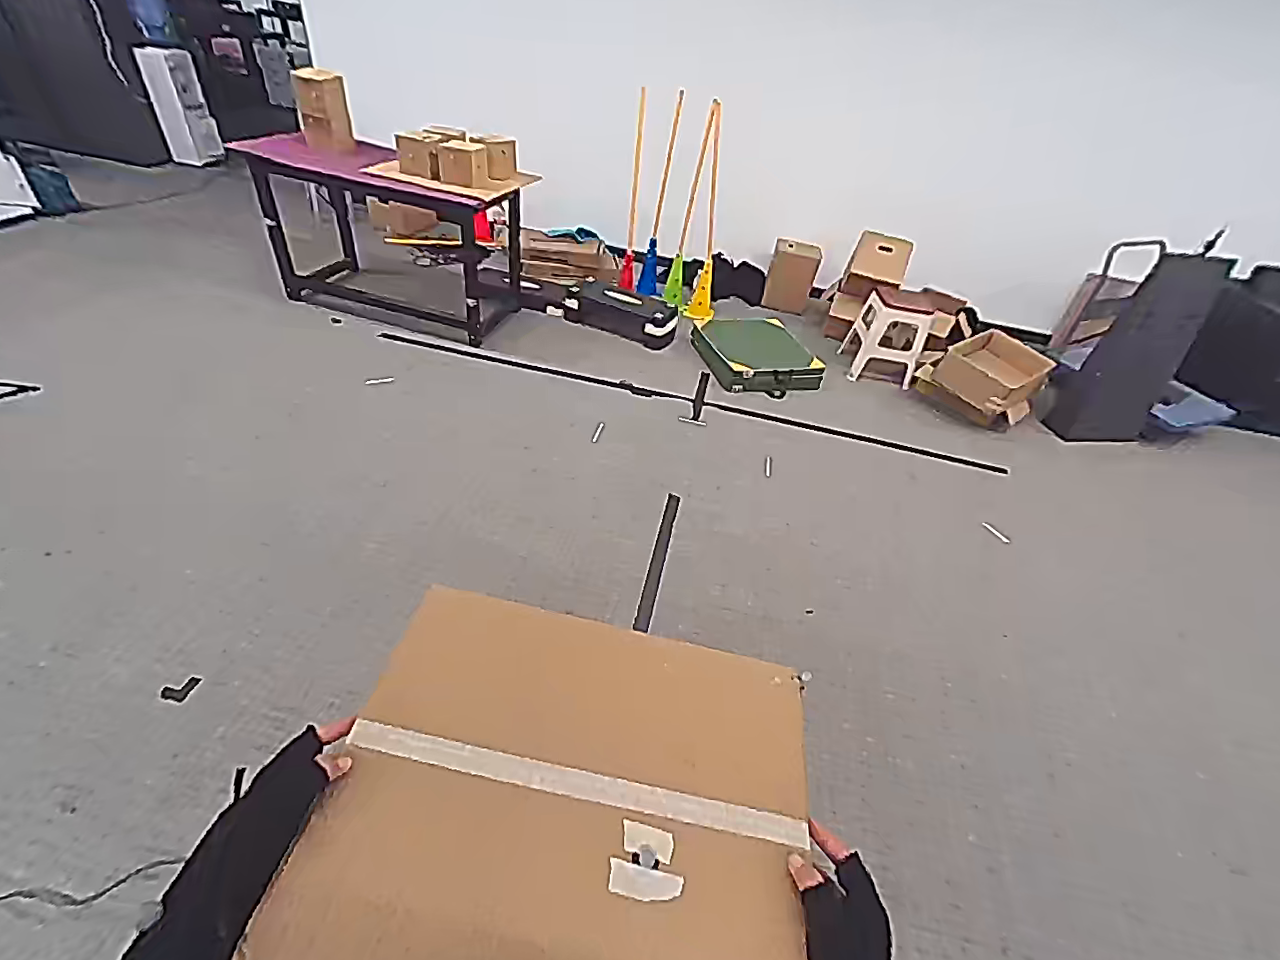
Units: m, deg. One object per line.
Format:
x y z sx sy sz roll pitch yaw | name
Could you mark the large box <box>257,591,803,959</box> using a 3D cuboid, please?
-0.077 0.369 0.584 0.408 0.320 0.320 13 46 0 | large box
